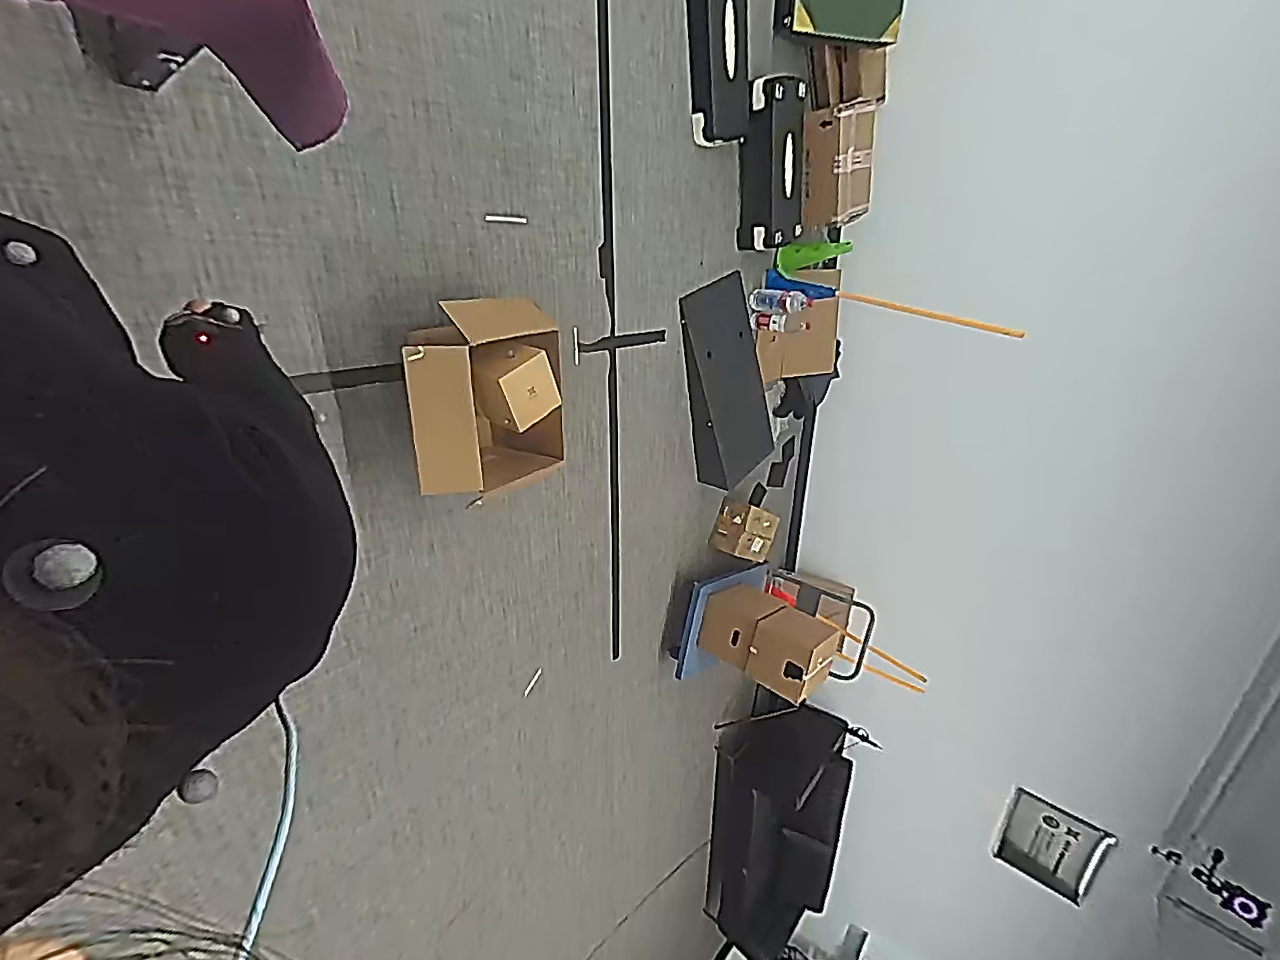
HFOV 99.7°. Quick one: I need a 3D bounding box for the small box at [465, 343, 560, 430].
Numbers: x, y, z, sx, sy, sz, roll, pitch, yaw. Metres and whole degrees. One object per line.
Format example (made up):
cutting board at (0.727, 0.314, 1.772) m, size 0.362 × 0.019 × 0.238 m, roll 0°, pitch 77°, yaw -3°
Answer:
small box at (-0.360, -0.272, 1.522) m, size 0.168 × 0.176 × 0.179 m, roll -43°, pitch 139°, yaw -29°
